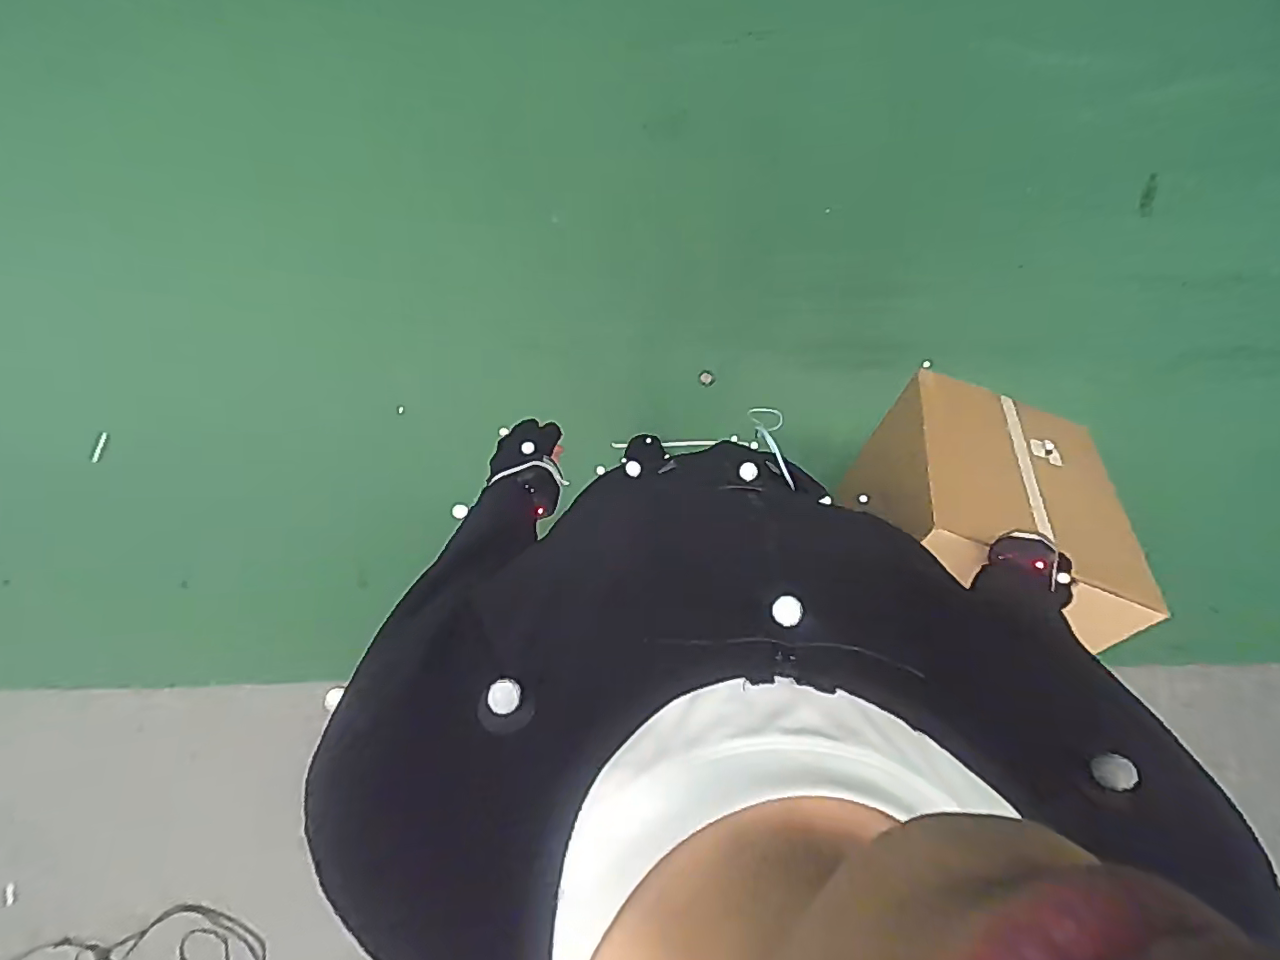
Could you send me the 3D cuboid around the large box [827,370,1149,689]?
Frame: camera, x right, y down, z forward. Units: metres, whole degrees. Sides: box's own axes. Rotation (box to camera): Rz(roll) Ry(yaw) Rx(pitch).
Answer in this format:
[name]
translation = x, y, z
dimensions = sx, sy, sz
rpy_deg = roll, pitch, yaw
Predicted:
[large box]
translation = 0.546, 0.080, 0.953
dimensions = 0.320, 0.408, 0.320
rpy_deg = 22, 136, 2
